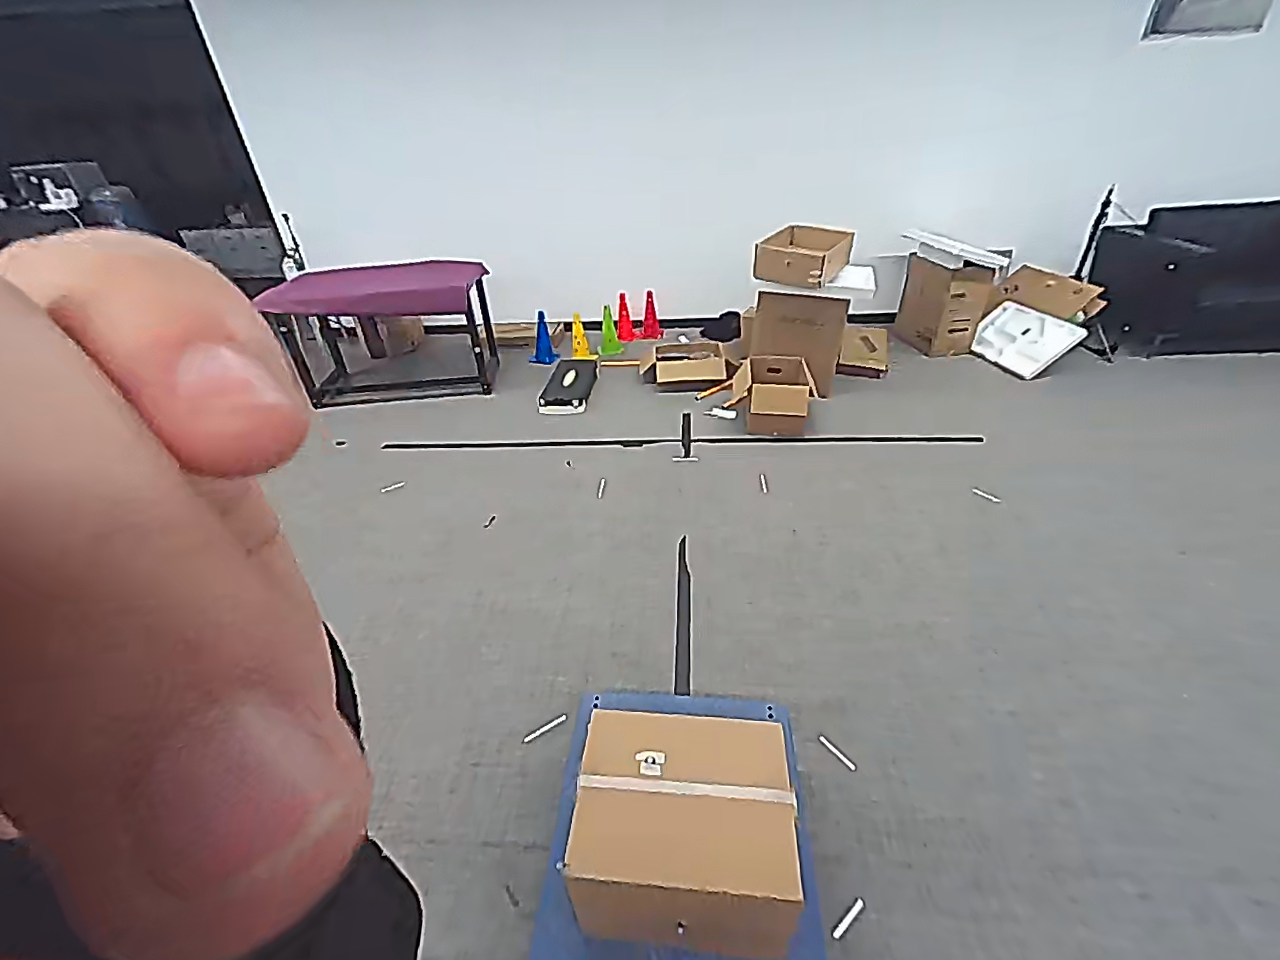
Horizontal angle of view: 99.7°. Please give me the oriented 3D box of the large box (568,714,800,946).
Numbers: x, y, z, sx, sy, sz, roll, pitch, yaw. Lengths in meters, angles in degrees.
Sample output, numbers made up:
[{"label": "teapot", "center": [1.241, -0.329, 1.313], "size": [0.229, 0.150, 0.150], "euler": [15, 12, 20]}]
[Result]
[{"label": "large box", "center": [0.094, 0.720, 1.127], "size": [0.408, 0.320, 0.320], "euler": [0, 34, 6]}]
